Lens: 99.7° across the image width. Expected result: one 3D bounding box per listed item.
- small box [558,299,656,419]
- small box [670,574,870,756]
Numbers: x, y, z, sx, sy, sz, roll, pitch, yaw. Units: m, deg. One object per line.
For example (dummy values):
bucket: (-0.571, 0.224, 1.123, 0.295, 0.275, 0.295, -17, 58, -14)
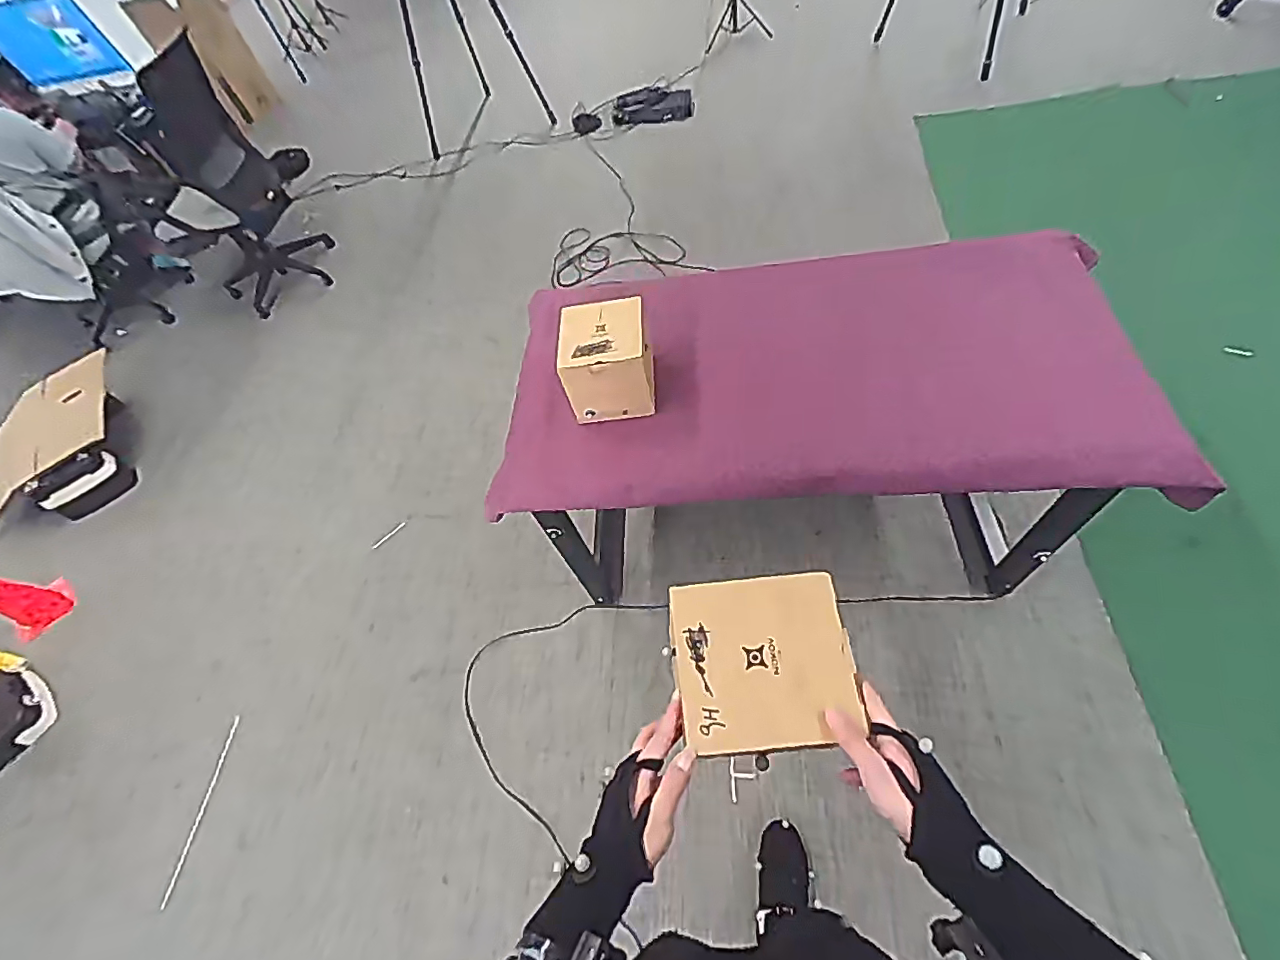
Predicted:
small box: (-0.060, -0.239, 1.111, 0.168, 0.176, 0.179, -6, 56, 8)
small box: (0.128, 0.215, 0.611, 0.179, 0.176, 0.168, -4, 61, 0)
